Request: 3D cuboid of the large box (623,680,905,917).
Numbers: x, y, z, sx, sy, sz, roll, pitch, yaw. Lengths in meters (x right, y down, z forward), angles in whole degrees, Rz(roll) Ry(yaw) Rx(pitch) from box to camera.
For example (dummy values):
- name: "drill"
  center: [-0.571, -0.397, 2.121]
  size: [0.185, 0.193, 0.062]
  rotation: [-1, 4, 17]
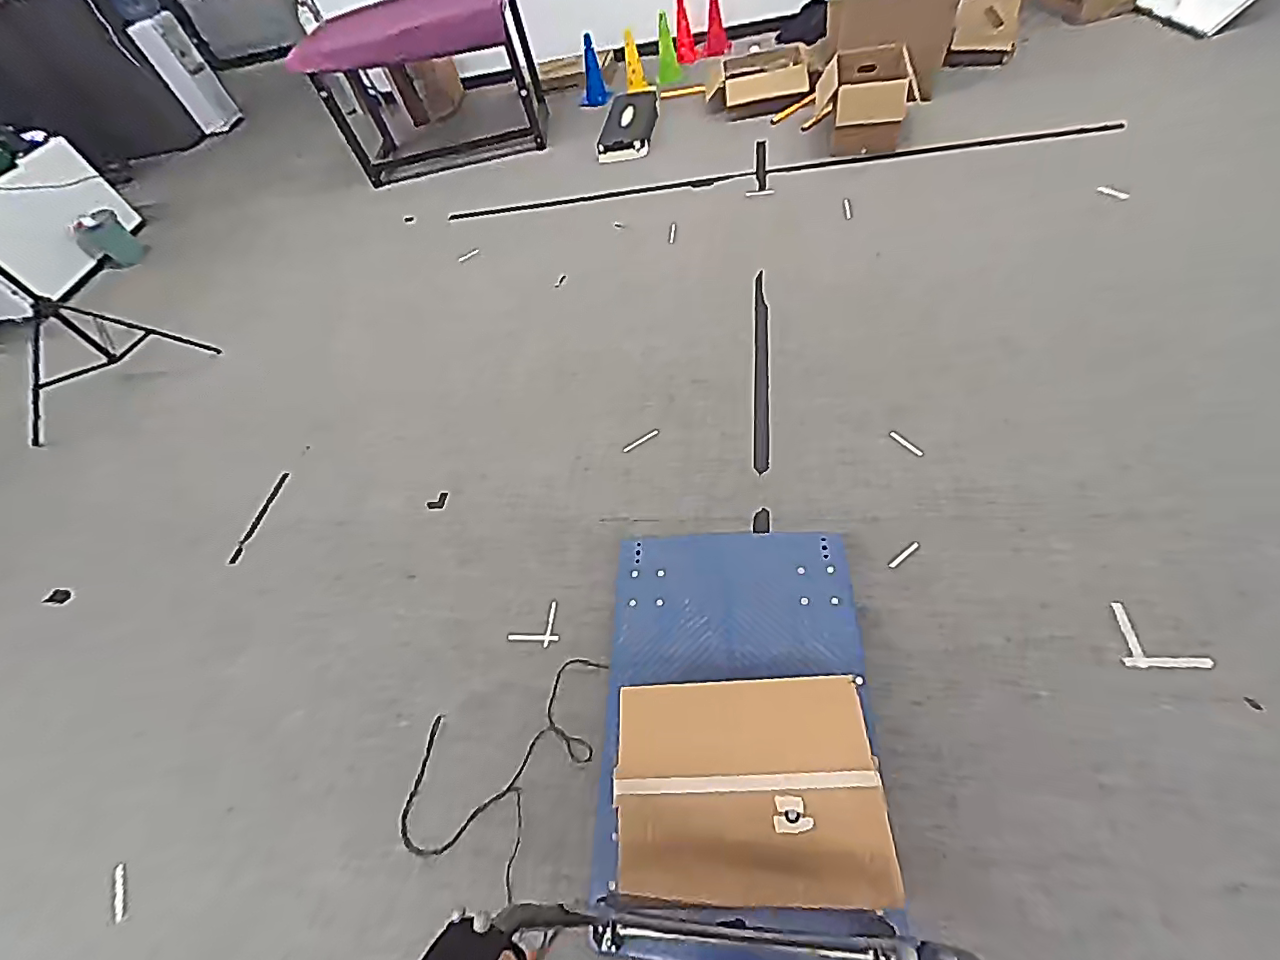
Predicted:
- name: "large box"
  center: [0.192, 0.572, 0.970]
  size: [0.408, 0.320, 0.320]
  rotation: [-6, 54, 7]
